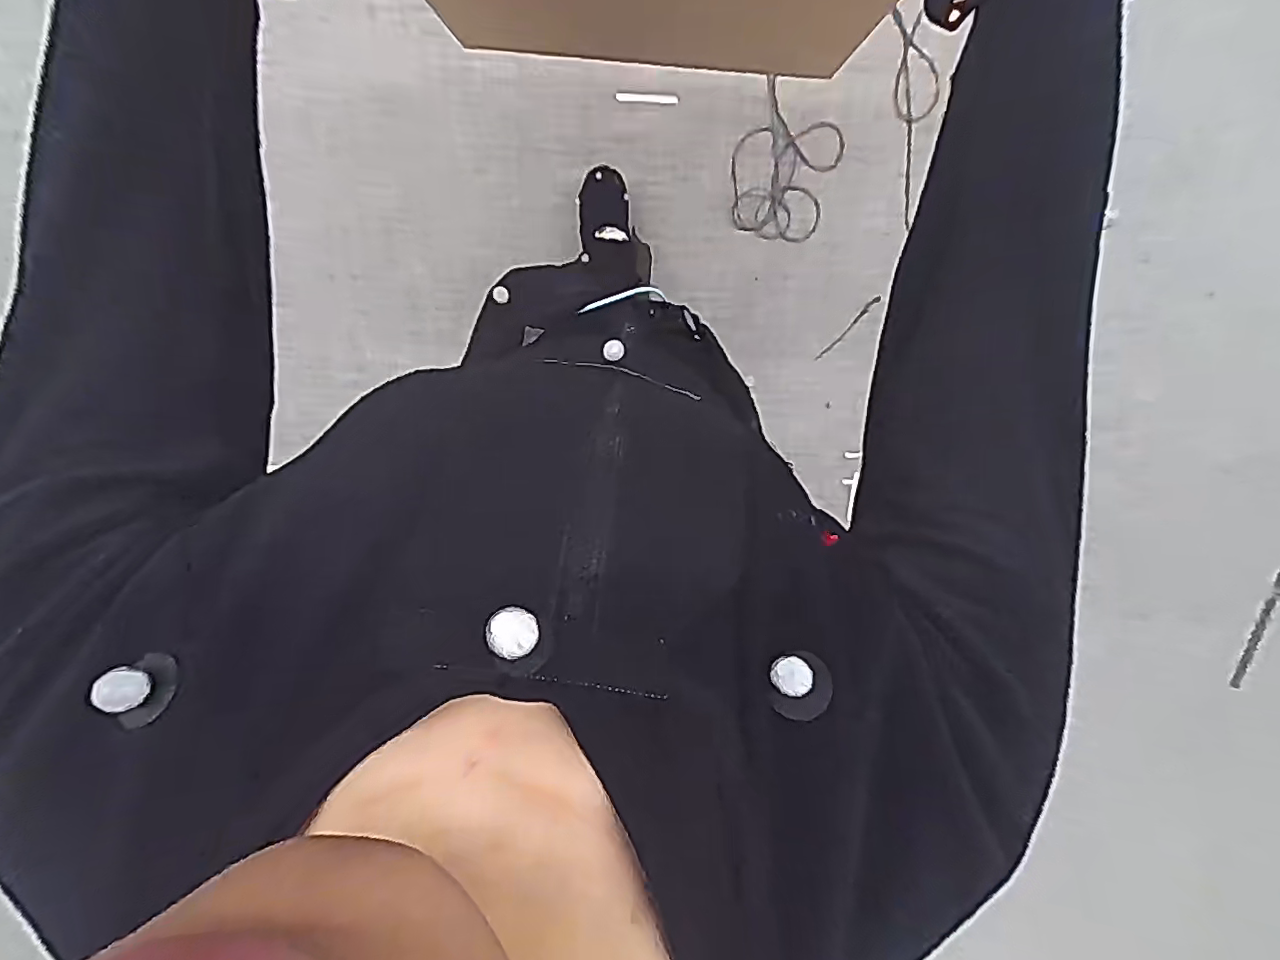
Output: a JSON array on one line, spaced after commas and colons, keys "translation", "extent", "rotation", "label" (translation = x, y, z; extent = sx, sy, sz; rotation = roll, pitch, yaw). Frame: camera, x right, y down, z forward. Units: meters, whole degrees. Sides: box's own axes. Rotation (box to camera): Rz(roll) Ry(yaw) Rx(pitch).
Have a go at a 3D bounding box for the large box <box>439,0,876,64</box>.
[{"translation": [0.014, -0.554, 0.398], "extent": [0.408, 0.320, 0.320], "rotation": [5, 111, 0], "label": "large box"}]
